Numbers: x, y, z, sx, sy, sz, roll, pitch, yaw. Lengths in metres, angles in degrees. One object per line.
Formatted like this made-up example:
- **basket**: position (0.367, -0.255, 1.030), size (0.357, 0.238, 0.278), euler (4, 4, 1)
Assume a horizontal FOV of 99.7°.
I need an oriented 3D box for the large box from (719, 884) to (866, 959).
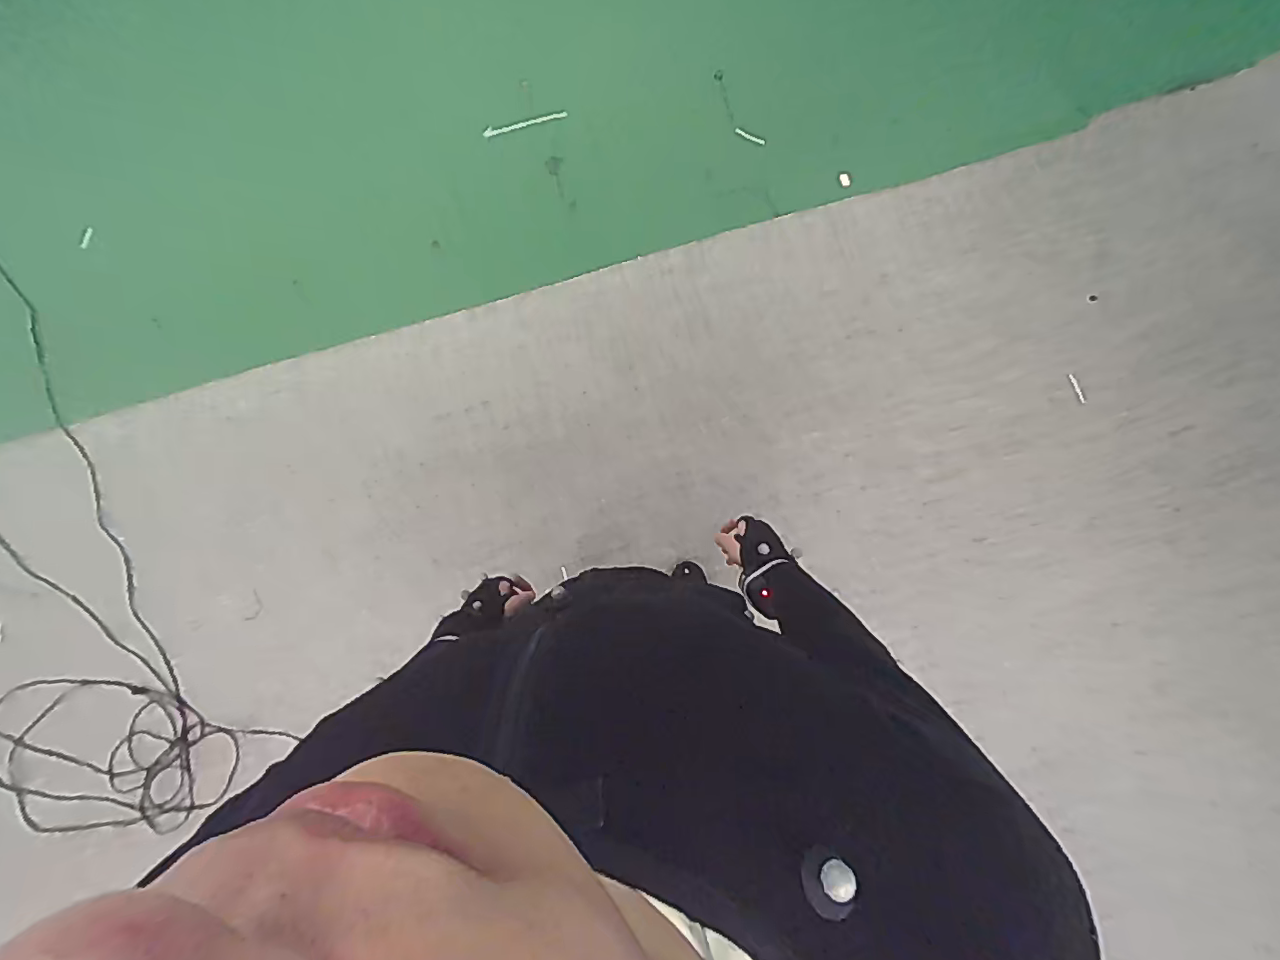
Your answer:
- **large box**: position (0.406, 1.184, 1.117), size (0.320, 0.320, 0.408), euler (-33, 81, -6)
